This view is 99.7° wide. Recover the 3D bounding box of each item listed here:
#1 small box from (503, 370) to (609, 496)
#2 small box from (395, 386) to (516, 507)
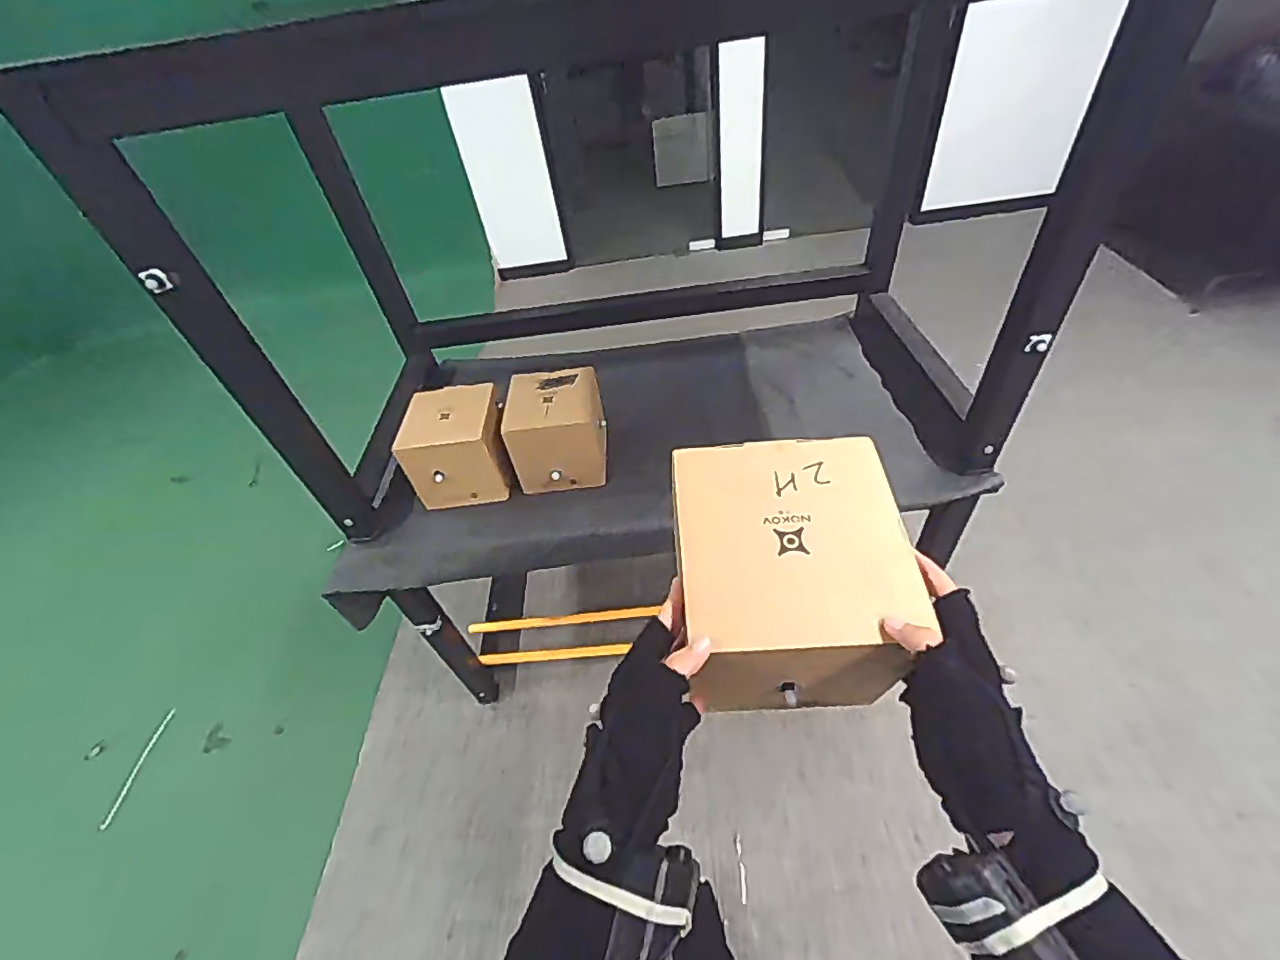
[{"bbox_3d":[-0.157,-0.091,1.068,0.168,0.176,0.179,-7,45,4],"label":"small box"},{"bbox_3d":[-0.351,-0.059,1.070,0.168,0.176,0.179,-7,44,2],"label":"small box"}]
